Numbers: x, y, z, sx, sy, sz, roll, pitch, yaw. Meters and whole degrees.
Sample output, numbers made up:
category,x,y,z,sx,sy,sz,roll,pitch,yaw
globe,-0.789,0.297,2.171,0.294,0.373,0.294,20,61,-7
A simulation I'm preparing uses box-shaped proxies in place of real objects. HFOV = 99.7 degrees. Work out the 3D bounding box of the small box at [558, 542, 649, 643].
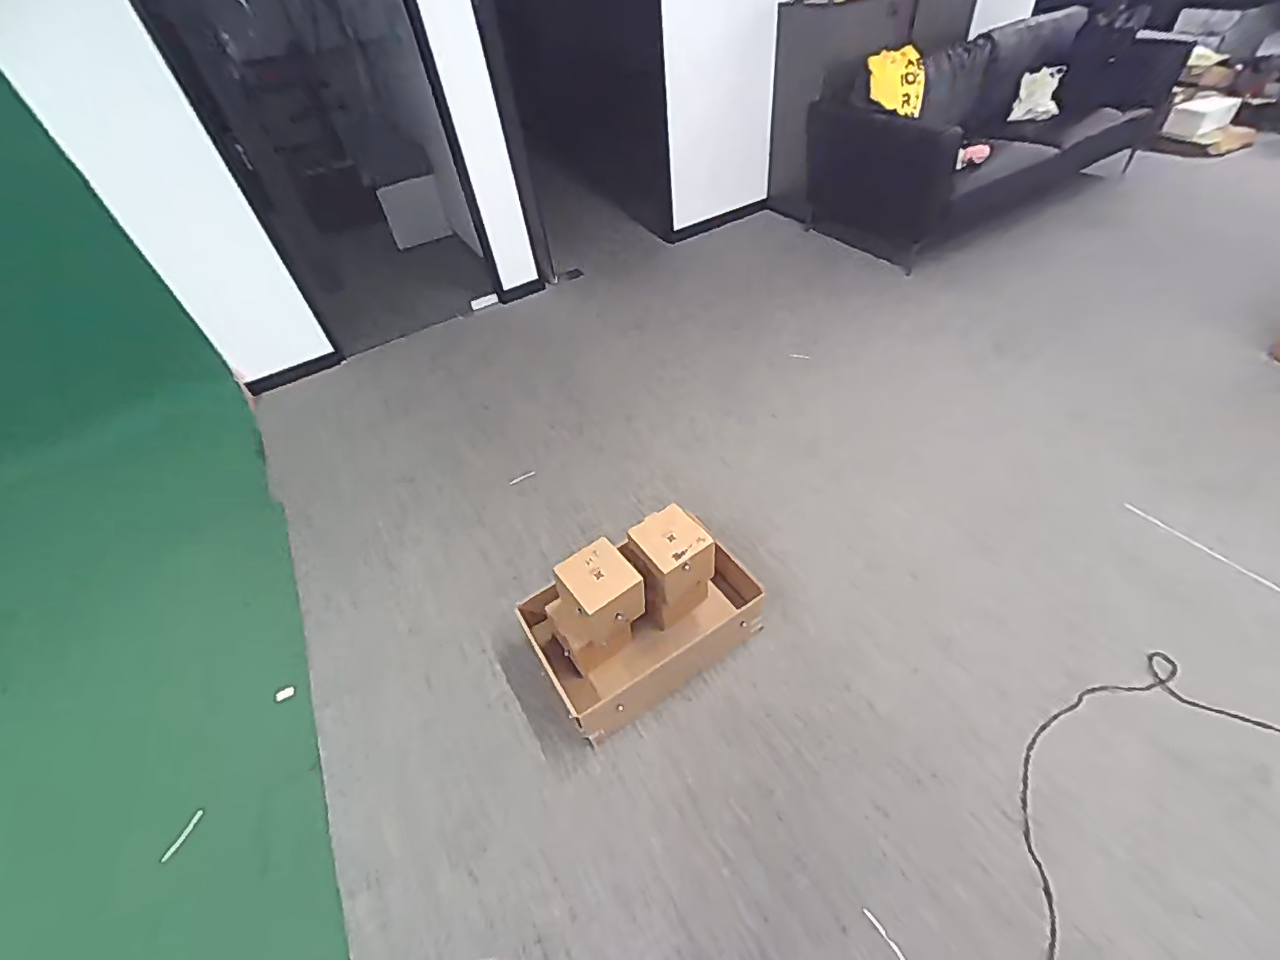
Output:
category,x,y,z,sx,sy,sz,roll,pitch,yaw
small box,-0.090,0.304,1.427,0.168,0.176,0.179,-31,51,-23

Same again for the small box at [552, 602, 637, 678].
category,x,y,z,sx,sy,sz,roll,pitch,yaw
small box,-0.125,0.428,1.539,0.179,0.176,0.168,-30,51,-22

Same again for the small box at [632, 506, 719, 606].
category,x,y,z,sx,sy,sz,roll,pitch,yaw
small box,0.100,0.210,1.484,0.168,0.176,0.179,-32,50,-18

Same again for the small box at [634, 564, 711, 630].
category,x,y,z,sx,sy,sz,roll,pitch,yaw
small box,0.100,0.313,1.614,0.179,0.176,0.168,-34,51,-22
